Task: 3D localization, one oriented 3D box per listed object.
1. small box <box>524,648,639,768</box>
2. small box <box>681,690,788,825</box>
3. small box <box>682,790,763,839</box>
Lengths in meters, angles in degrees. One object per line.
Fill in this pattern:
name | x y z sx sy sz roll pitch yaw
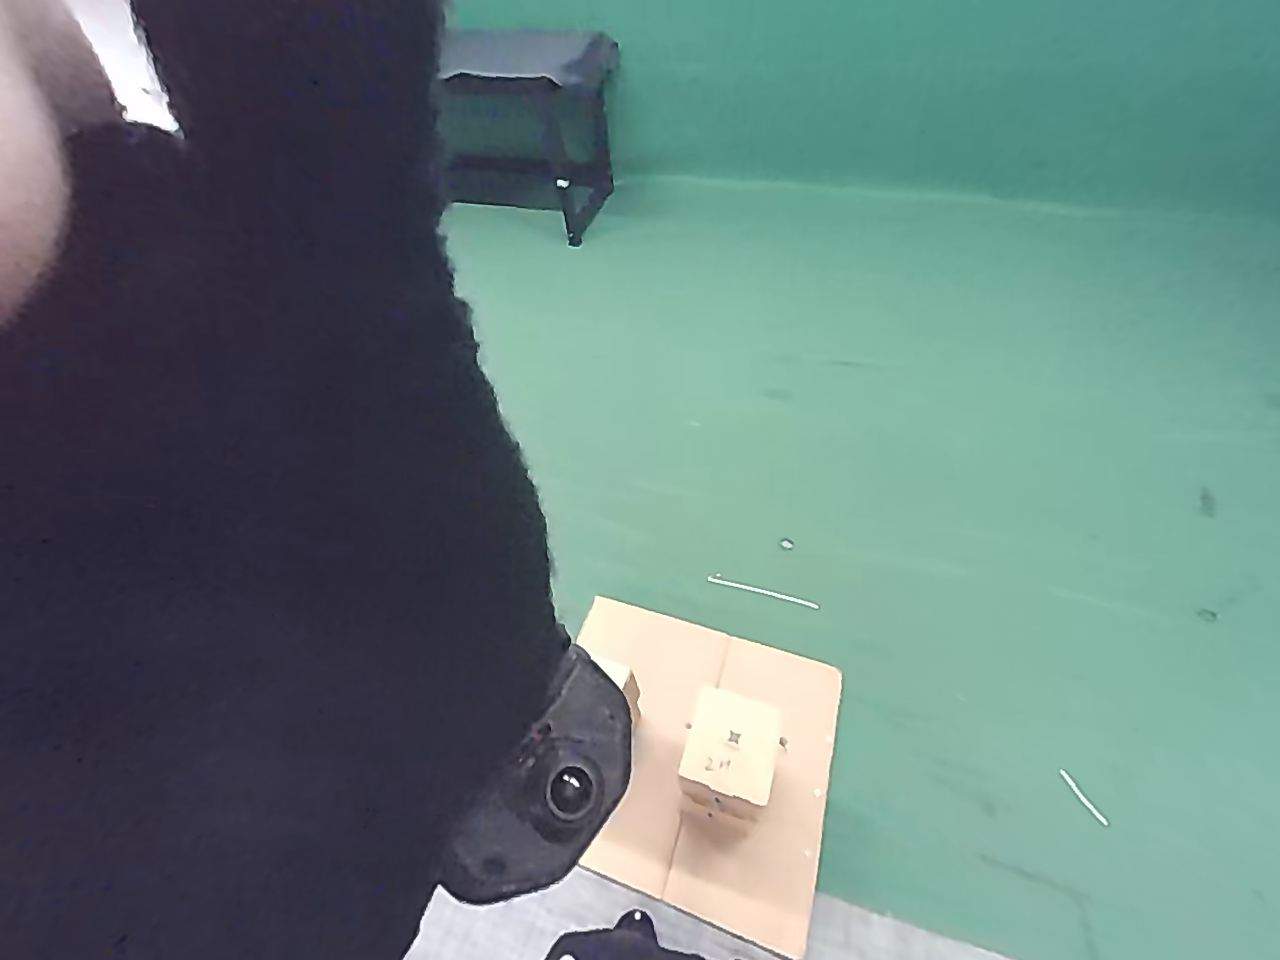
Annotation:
small box | -0.113 0.489 1.147 0.179 0.176 0.168 14 54 19
small box | 0.184 0.551 1.069 0.168 0.176 0.179 13 54 16
small box | 0.193 0.663 1.192 0.168 0.176 0.179 11 54 15
